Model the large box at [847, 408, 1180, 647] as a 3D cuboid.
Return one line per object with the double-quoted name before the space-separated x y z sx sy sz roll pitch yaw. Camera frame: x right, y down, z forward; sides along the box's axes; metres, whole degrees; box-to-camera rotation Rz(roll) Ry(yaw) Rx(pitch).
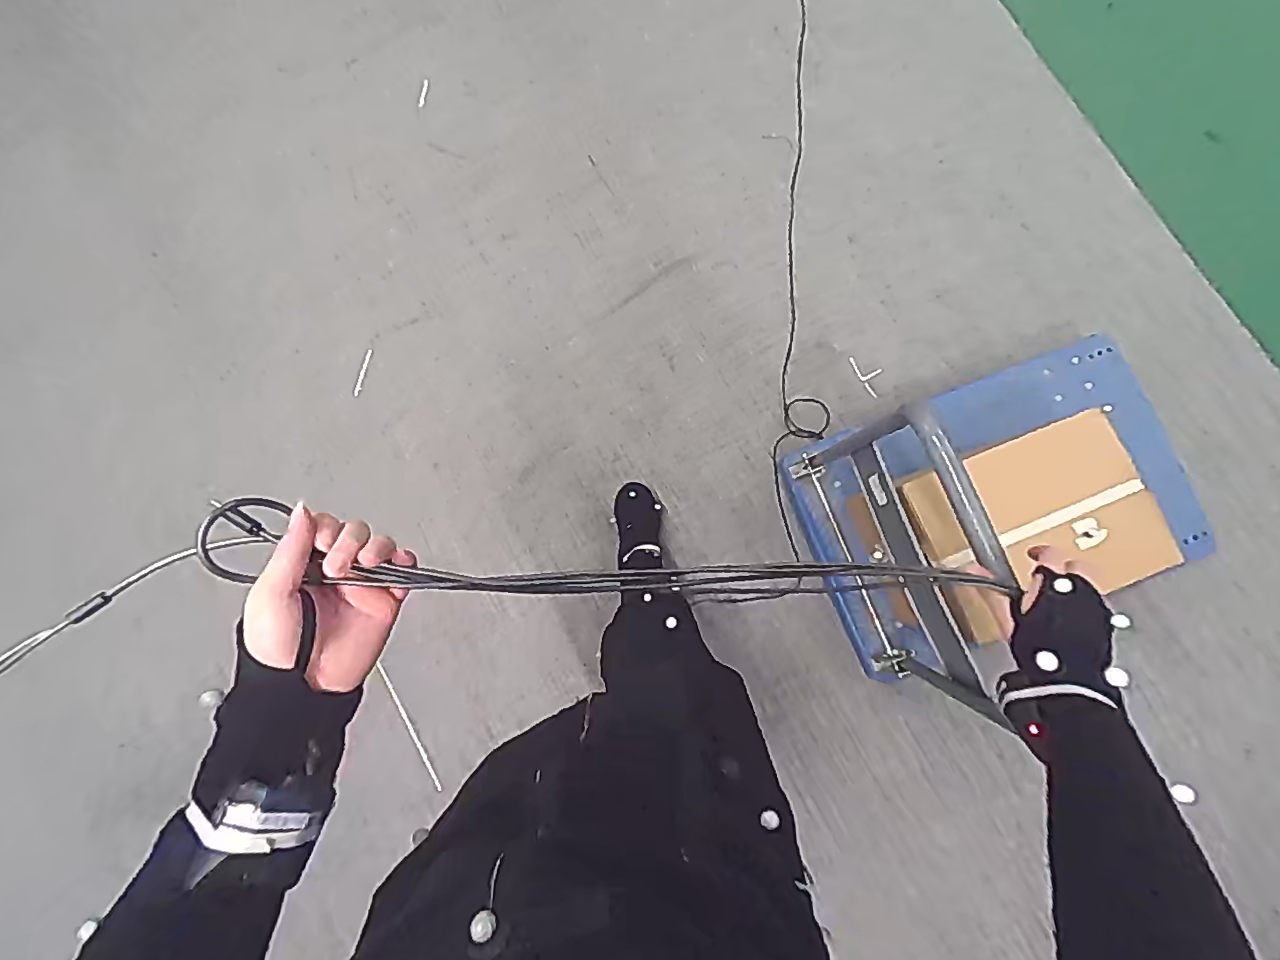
"large box" 0.719 0.103 1.115 0.408 0.320 0.320 -22 83 -2
